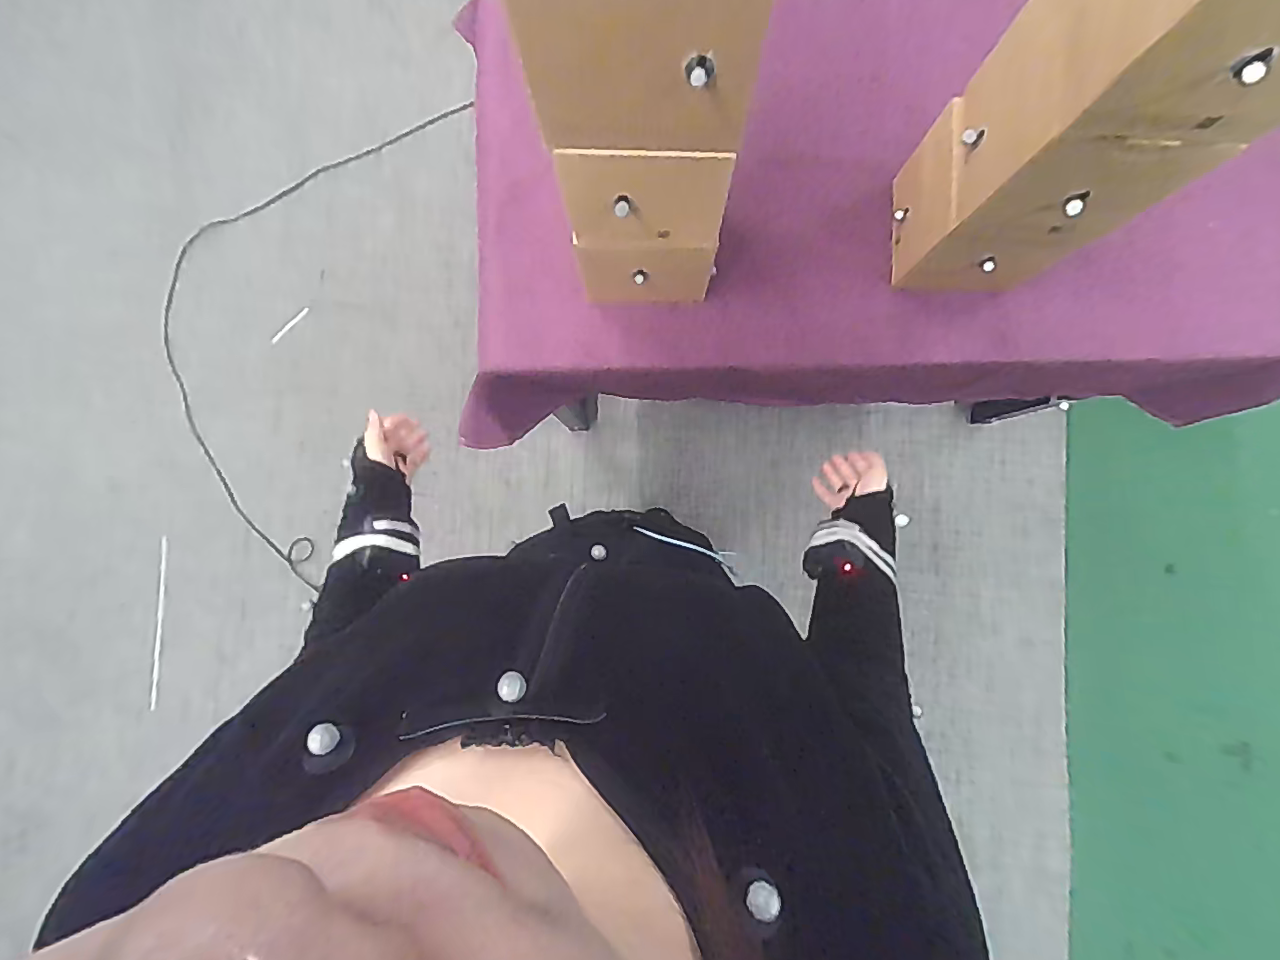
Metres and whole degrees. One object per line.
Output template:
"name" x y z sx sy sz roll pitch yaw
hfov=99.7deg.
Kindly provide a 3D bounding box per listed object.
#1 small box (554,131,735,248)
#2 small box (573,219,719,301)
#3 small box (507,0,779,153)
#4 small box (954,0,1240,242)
"small box" 0.010 -0.365 0.567 0.168 0.176 0.179 2 86 1
"small box" 0.010 -0.353 0.729 0.179 0.176 0.168 1 87 2
"small box" 0.006 -0.376 0.404 0.179 0.176 0.168 3 85 2
"small box" 0.454 -0.370 0.559 0.168 0.176 0.179 6 88 1
